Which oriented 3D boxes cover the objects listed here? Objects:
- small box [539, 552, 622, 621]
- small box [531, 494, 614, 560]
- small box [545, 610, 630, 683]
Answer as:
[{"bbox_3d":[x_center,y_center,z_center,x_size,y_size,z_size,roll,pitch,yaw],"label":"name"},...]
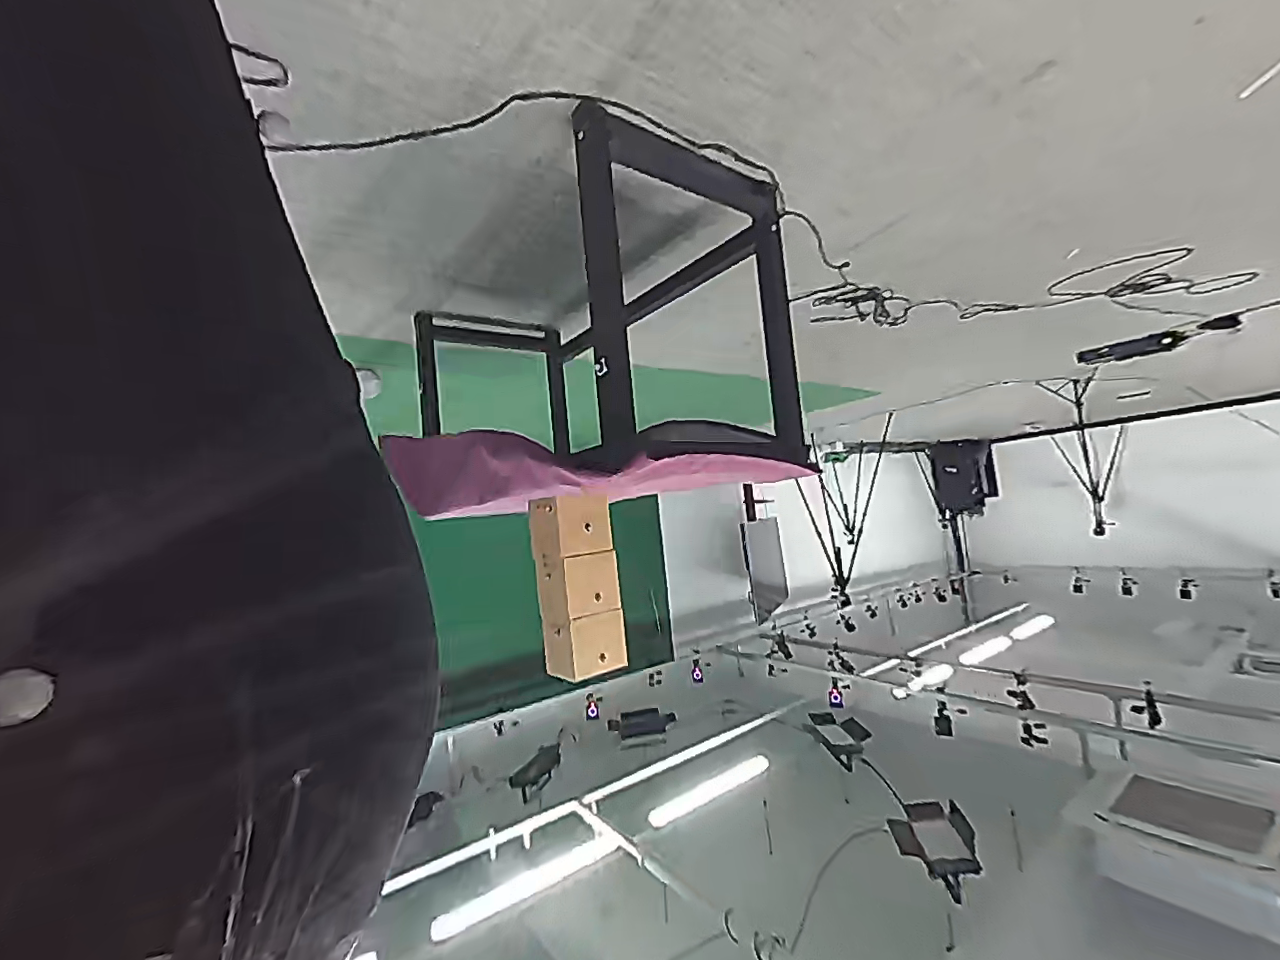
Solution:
[{"bbox_3d":[-0.173,0.298,1.550,0.179,0.176,0.168,-2,174,-38],"label":"small box"},{"bbox_3d":[-0.199,0.135,1.559,0.179,0.176,0.168,-4,175,-39],"label":"small box"},{"bbox_3d":[-0.152,0.459,1.540,0.179,0.176,0.168,-3,174,-38],"label":"small box"}]
